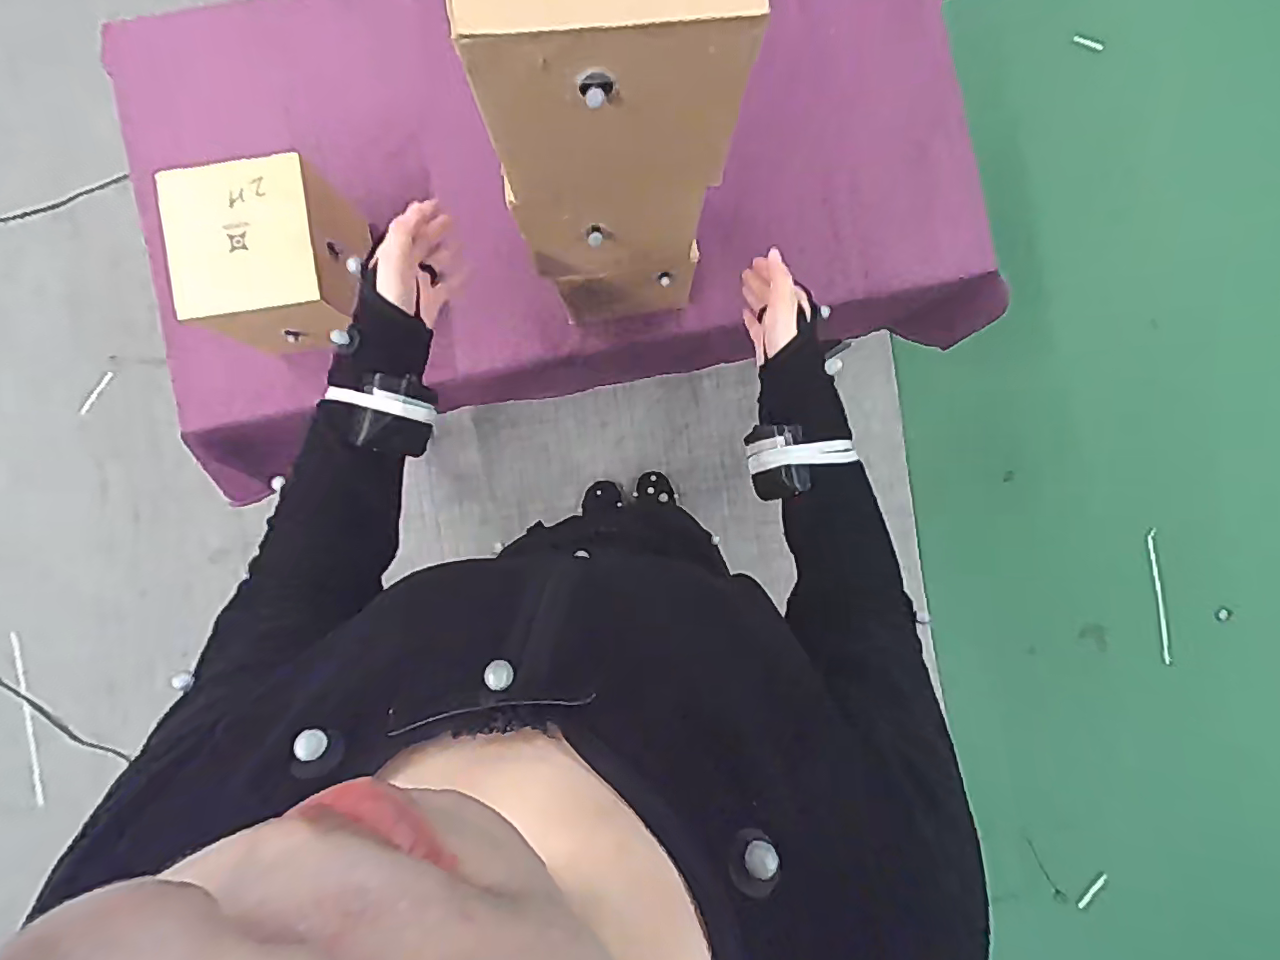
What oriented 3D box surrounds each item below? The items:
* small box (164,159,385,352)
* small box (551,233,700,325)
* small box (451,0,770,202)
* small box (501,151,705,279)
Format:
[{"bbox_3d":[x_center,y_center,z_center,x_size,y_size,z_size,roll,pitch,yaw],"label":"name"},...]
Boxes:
[{"bbox_3d":[-0.453,-0.272,0.699,0.168,0.176,0.179,-8,89,-1],"label":"small box"},{"bbox_3d":[-0.028,-0.315,0.705,0.179,0.176,0.168,-10,89,-1],"label":"small box"},{"bbox_3d":[-0.022,-0.317,0.376,0.179,0.176,0.168,-6,89,-2],"label":"small box"},{"bbox_3d":[-0.034,-0.315,0.540,0.179,0.176,0.168,-5,89,0],"label":"small box"}]
